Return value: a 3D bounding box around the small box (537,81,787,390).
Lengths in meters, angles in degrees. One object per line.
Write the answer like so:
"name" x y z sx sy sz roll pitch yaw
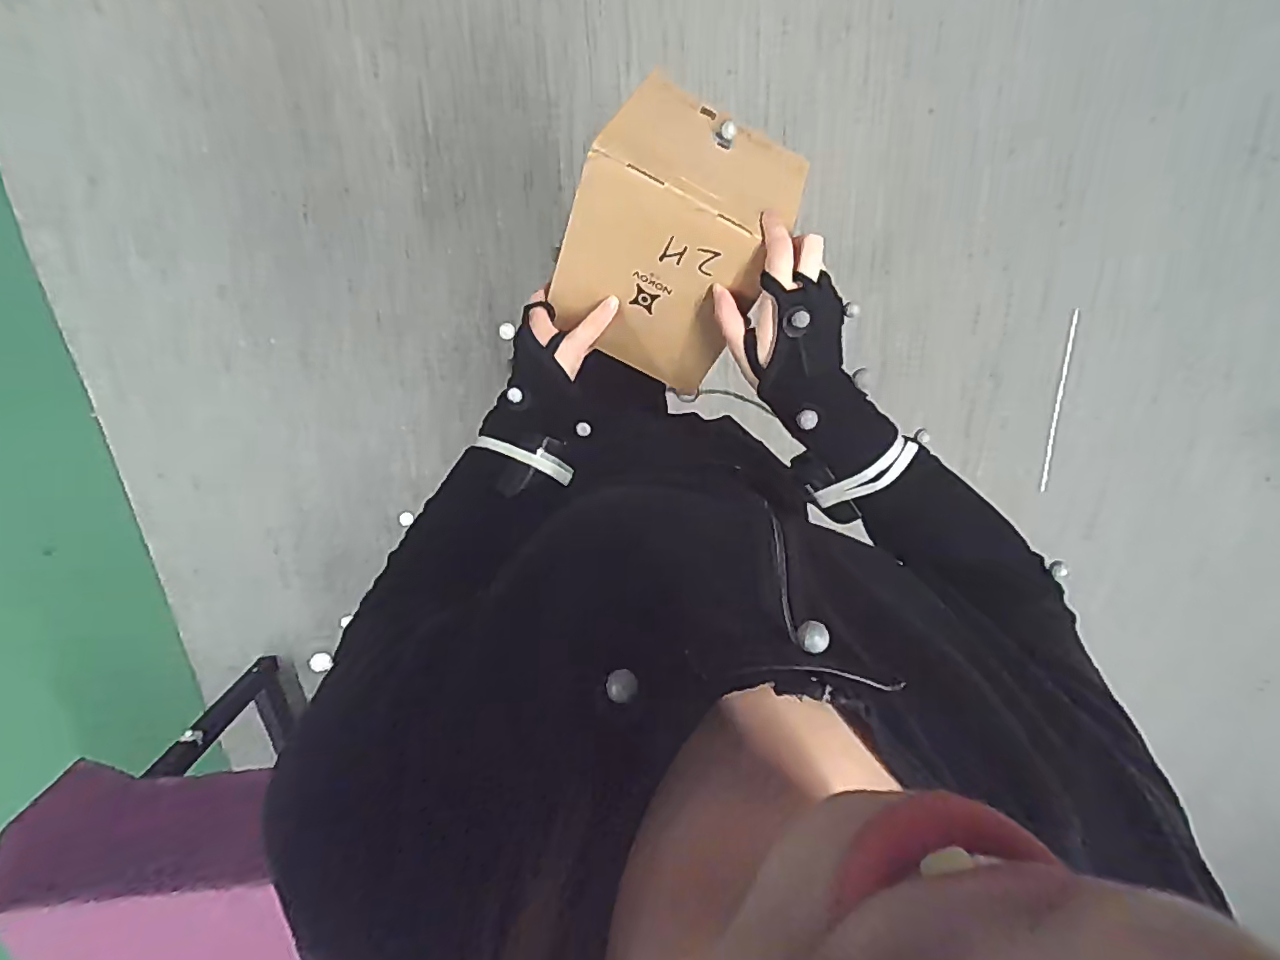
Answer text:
"small box" 0.023 -0.227 0.516 0.168 0.176 0.179 25 143 -7
